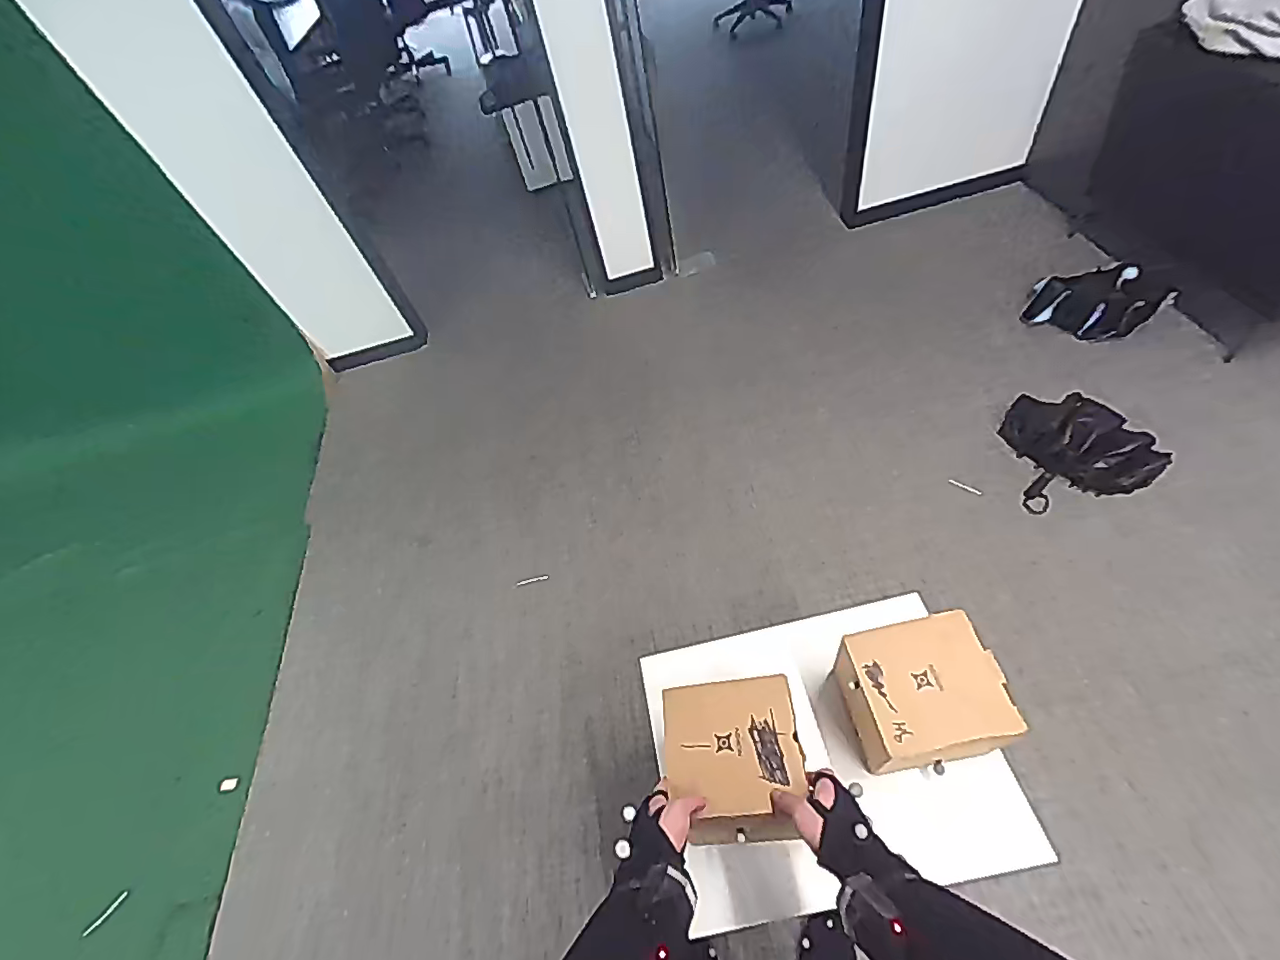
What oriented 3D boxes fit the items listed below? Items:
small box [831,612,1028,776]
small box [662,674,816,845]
[{"bbox_3d":[0.396,0.311,0.779,0.179,0.176,0.168,-12,52,2],"label":"small box"},{"bbox_3d":[0.132,0.383,0.736,0.179,0.176,0.168,-10,46,9],"label":"small box"}]
